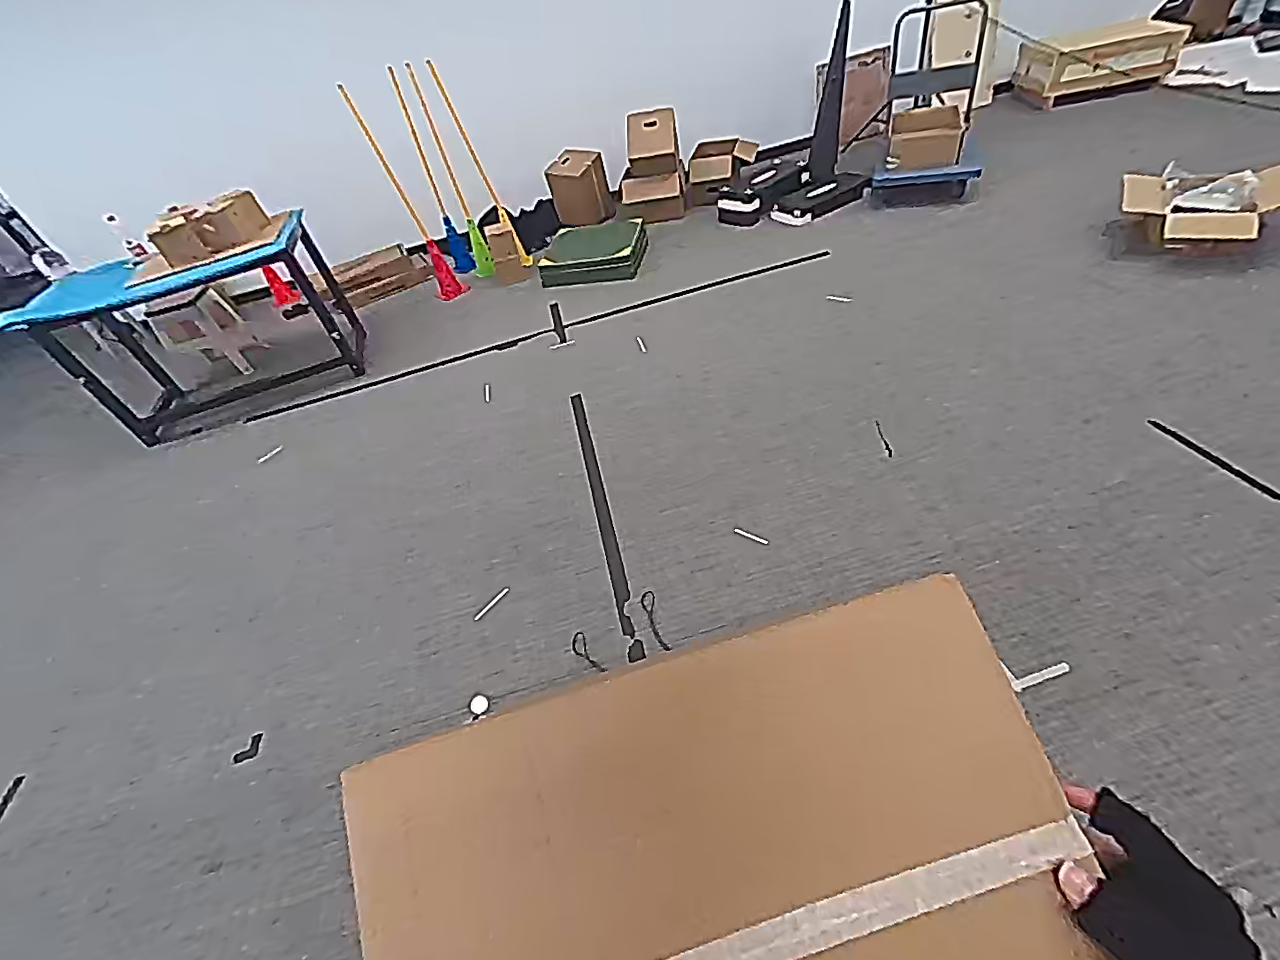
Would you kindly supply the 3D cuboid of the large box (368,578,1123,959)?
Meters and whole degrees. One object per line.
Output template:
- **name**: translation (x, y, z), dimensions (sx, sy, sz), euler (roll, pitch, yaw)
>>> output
- **large box**: translation (0.064, 0.308, 0.451), dimensions (0.408, 0.320, 0.320), euler (-17, 74, -2)
